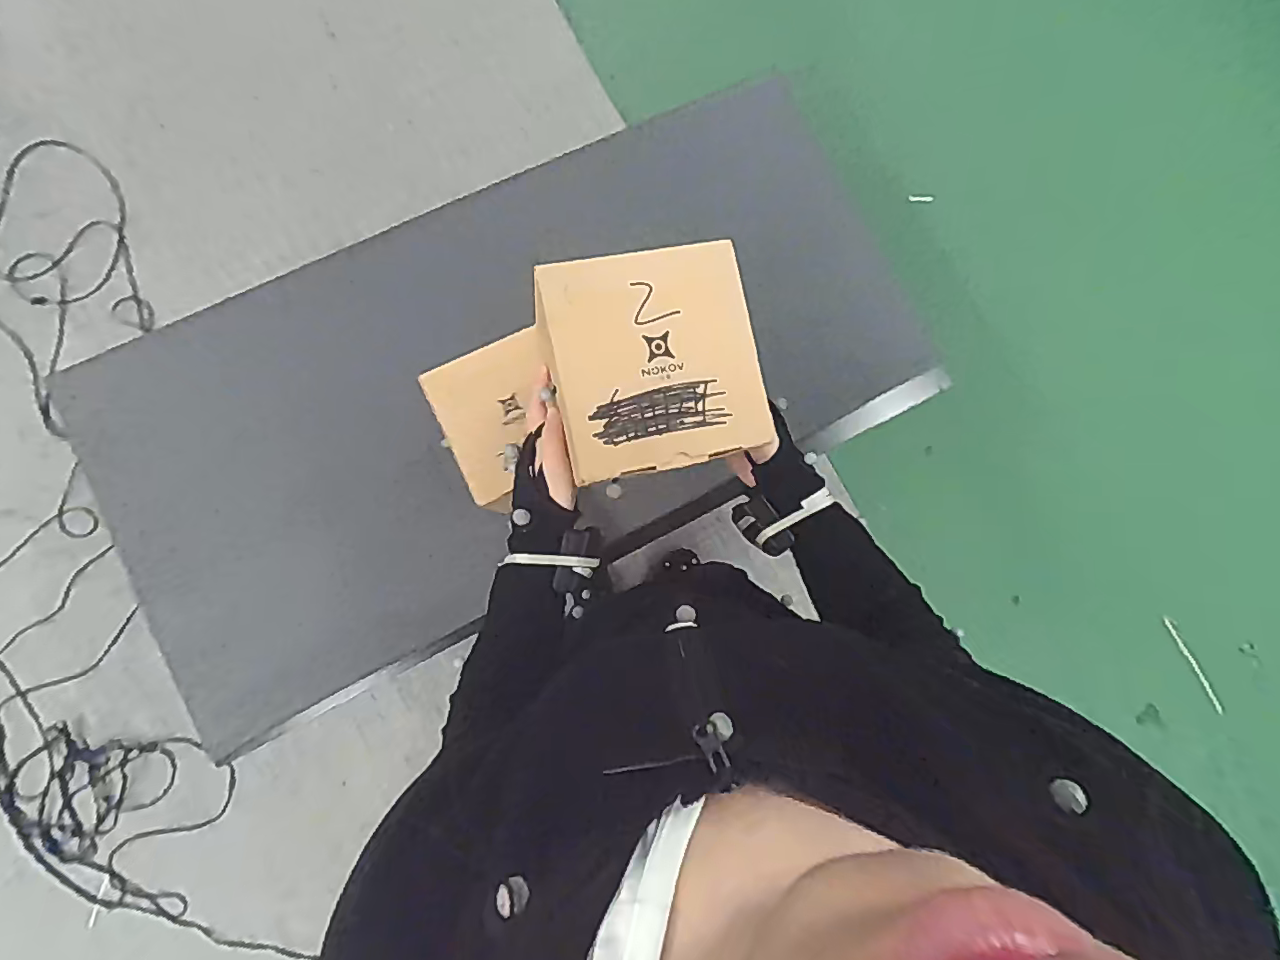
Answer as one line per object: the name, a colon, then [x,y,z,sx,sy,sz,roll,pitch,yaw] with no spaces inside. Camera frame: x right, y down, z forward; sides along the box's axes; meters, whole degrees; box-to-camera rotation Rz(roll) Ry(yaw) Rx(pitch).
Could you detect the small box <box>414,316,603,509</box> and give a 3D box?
small box: [-0.158,-0.075,0.702,0.168,0.176,0.179,-26,85,-6]
